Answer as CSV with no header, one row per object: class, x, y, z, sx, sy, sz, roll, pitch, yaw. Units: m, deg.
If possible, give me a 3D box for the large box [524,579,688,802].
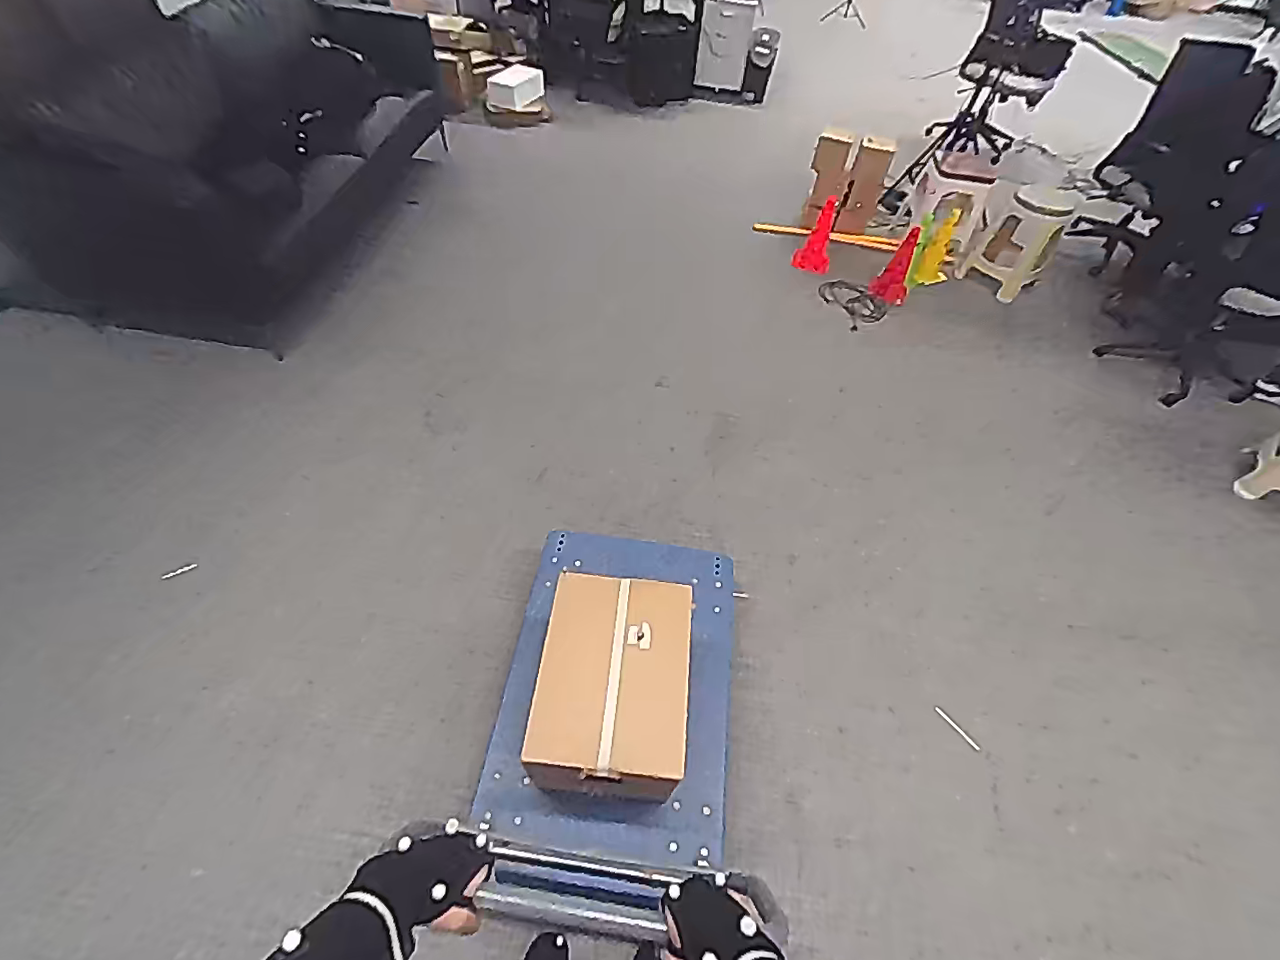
large box,-0.062,0.492,1.259,0.320,0.320,0.408,6,52,1
